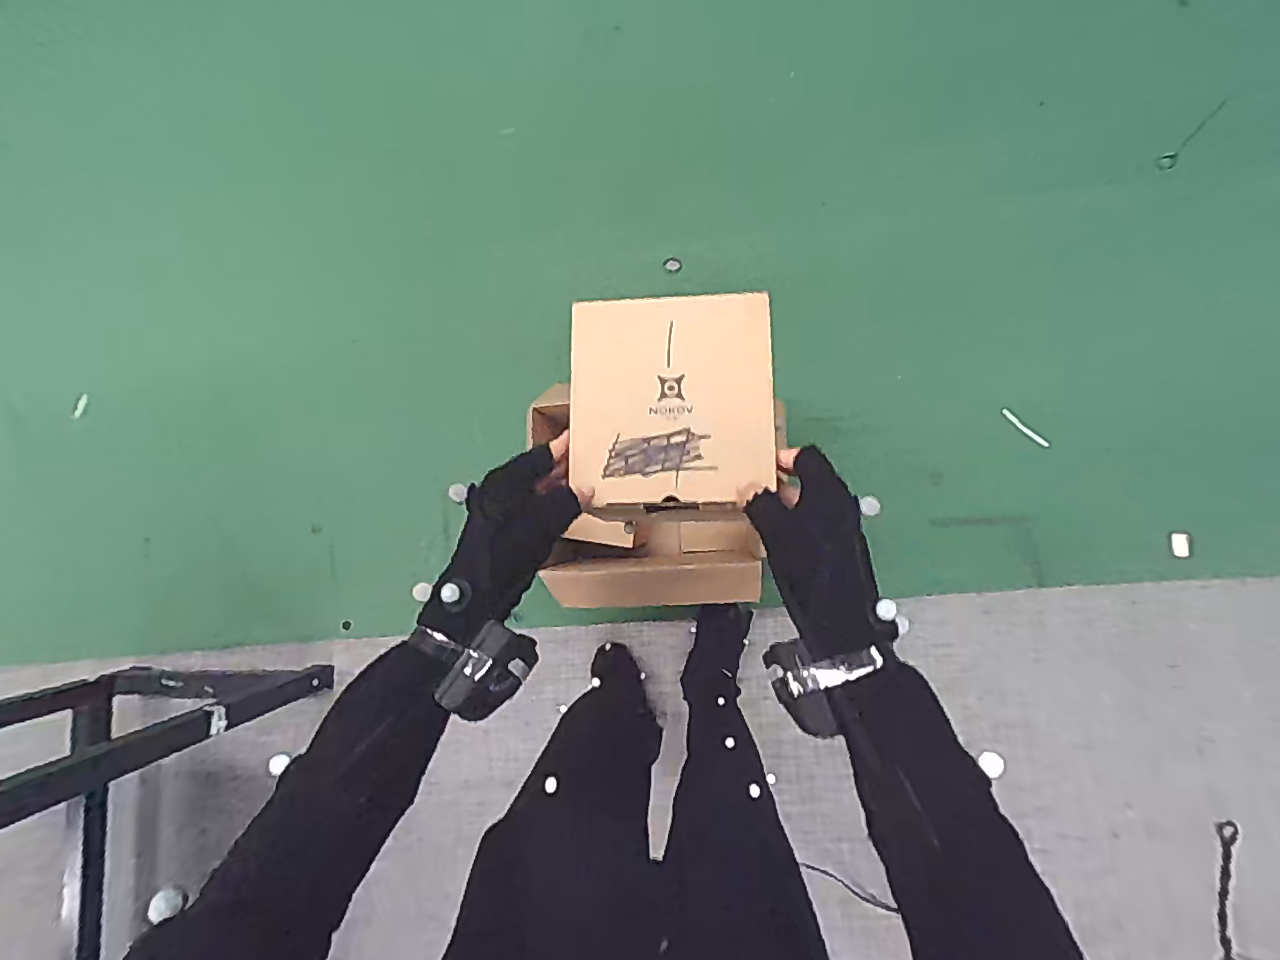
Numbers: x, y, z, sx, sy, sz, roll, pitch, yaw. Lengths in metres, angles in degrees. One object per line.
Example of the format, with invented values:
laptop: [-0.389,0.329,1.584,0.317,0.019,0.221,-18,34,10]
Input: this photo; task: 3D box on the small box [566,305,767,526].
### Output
small box: [0.031,-0.048,0.524,0.168,0.176,0.179,0,80,6]
